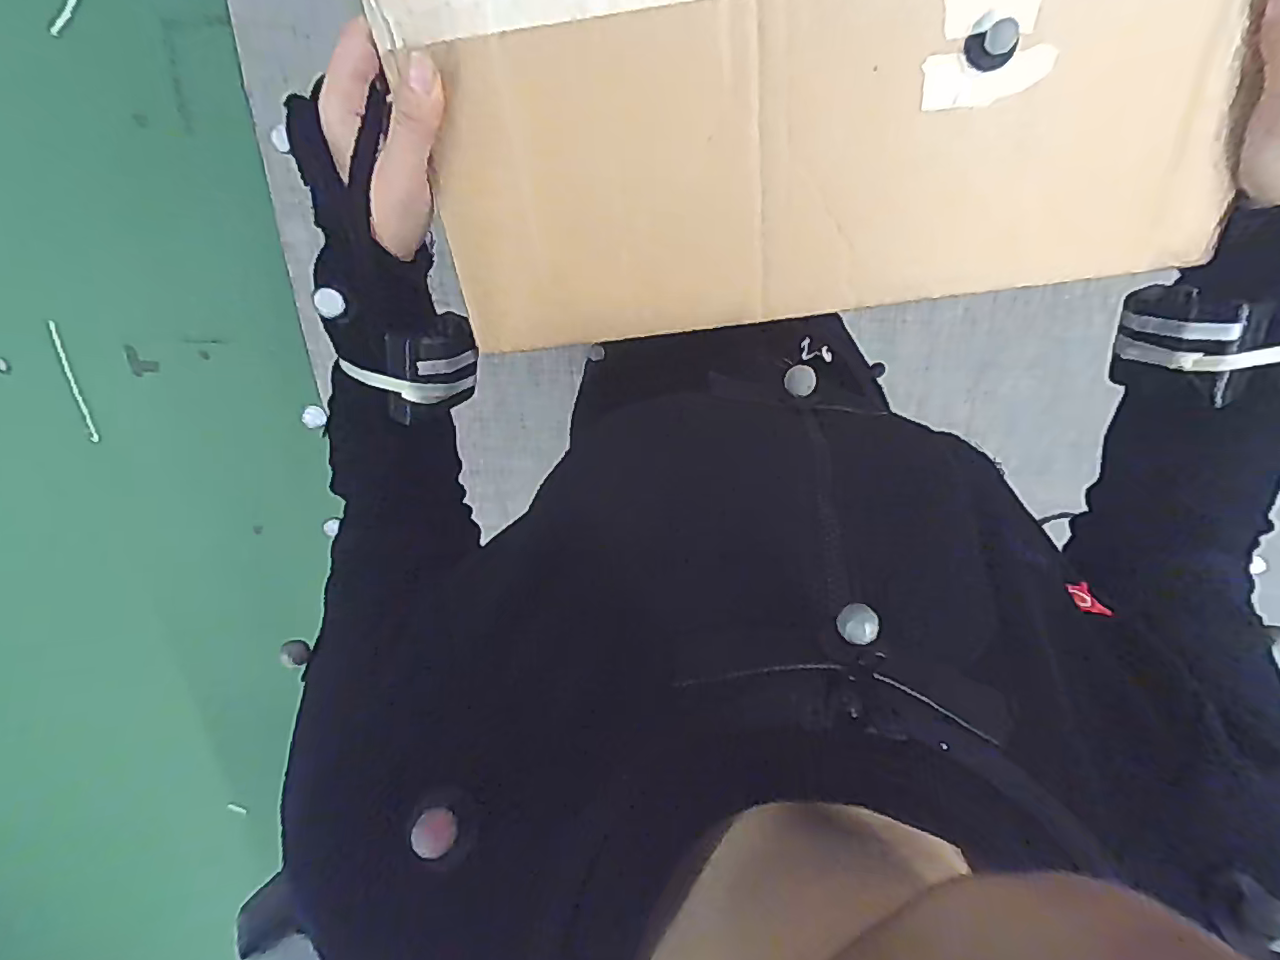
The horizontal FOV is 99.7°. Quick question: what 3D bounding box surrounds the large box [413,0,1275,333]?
[{"bbox_3d":[0.087,-0.317,0.368,0.408,0.320,0.320,-7,120,3],"label":"large box"}]
